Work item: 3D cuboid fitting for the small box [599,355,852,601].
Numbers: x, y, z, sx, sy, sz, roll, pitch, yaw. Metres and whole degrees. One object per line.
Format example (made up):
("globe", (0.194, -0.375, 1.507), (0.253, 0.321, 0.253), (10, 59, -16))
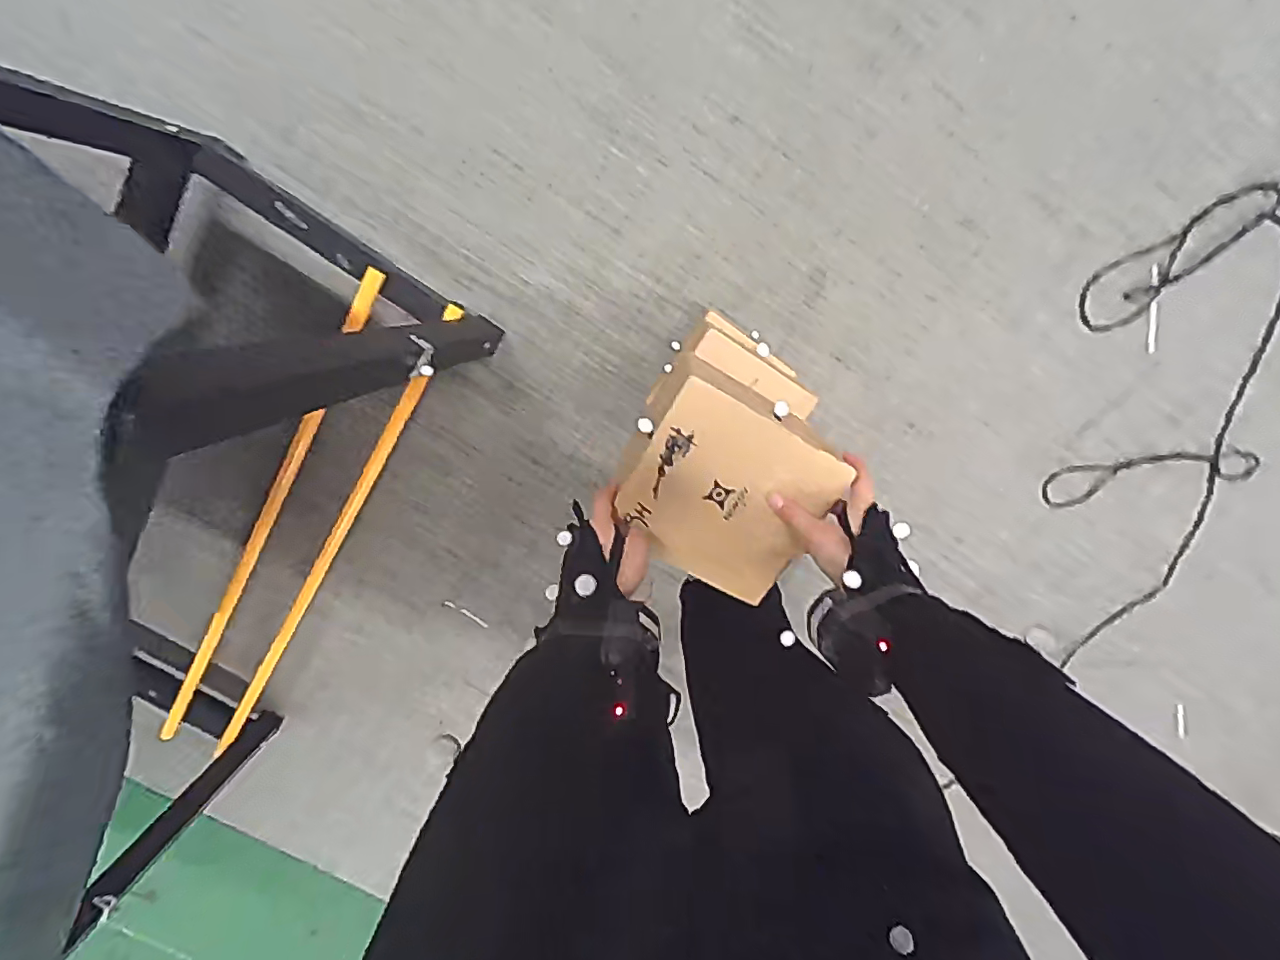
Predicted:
("small box", (0.076, -0.013, 0.564), (0.179, 0.176, 0.168), (29, 108, -11))

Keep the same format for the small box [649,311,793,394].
("small box", (0.126, -0.167, 0.916), (0.168, 0.176, 0.179), (35, 107, -7))

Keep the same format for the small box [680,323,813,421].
("small box", (0.111, -0.103, 0.766), (0.168, 0.176, 0.179), (32, 107, -7))
